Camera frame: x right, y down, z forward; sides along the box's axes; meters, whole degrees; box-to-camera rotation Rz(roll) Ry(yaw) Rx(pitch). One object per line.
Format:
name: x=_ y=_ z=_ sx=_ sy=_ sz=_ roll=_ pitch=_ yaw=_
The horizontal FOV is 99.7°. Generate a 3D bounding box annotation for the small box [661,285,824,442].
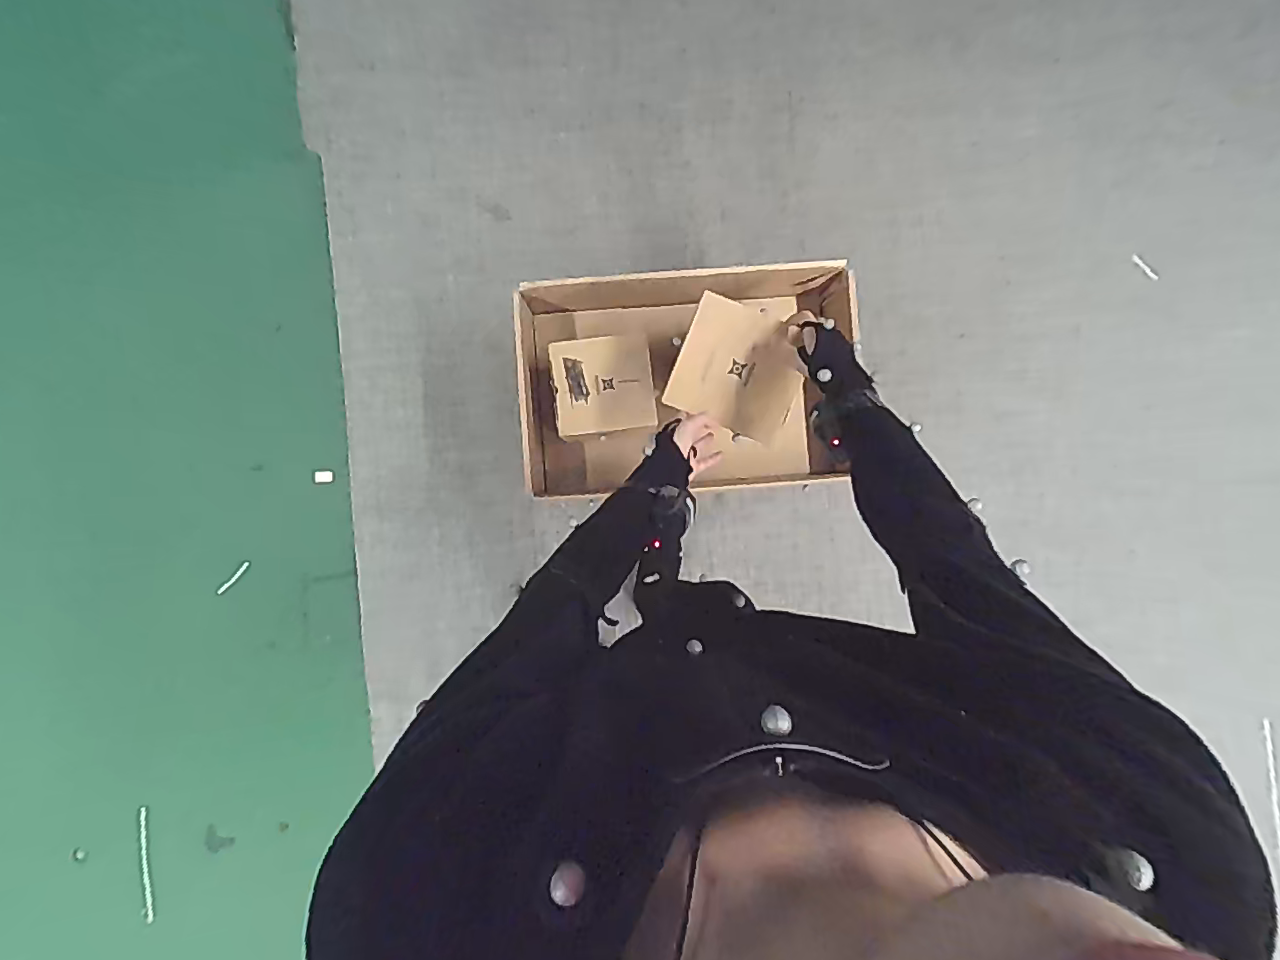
small box: x=0.144 y=-0.173 z=0.822 sx=0.179 sy=0.176 sz=0.168 roll=23 pitch=100 yaw=-1
